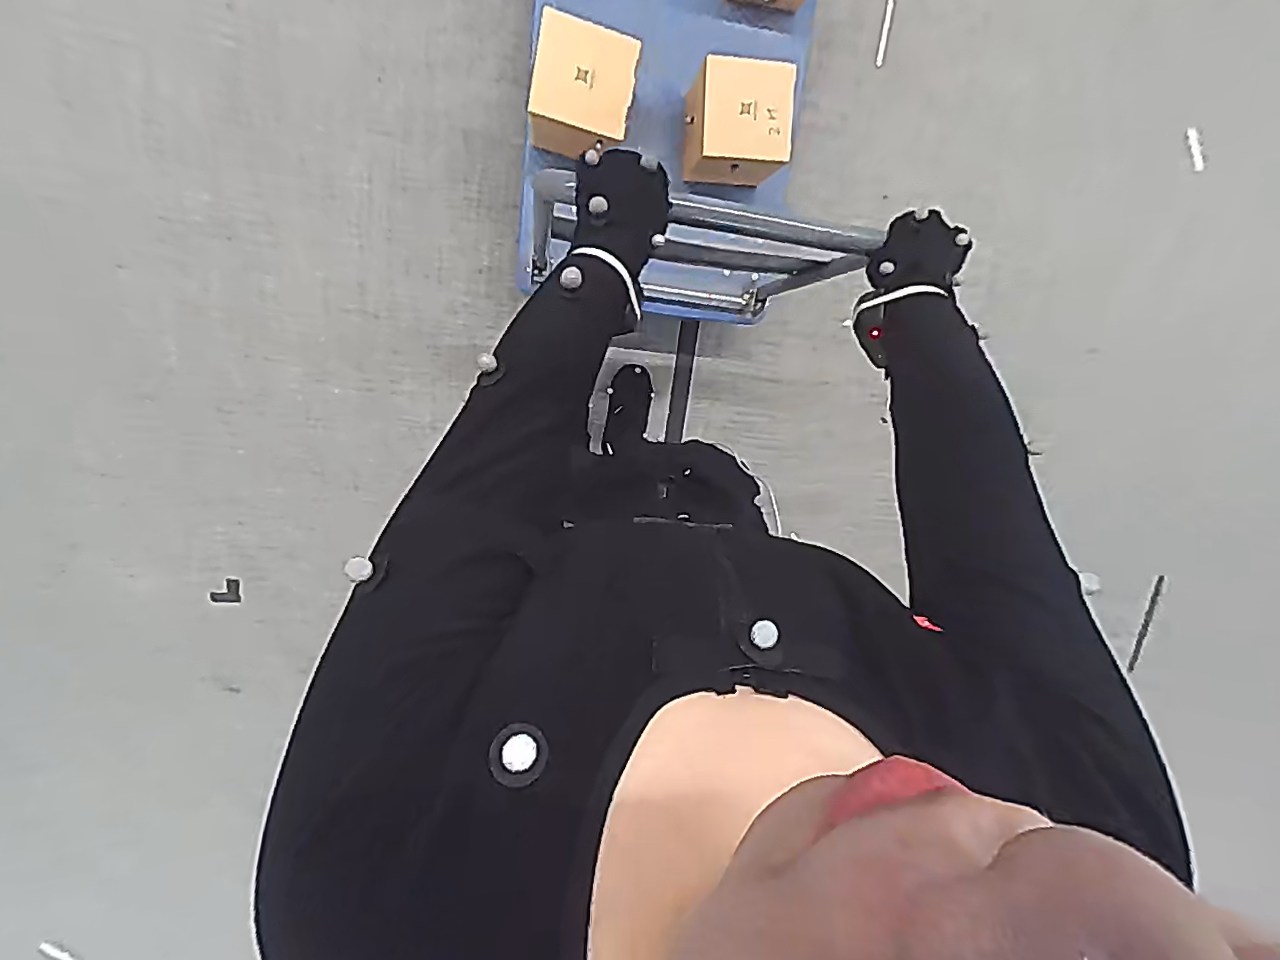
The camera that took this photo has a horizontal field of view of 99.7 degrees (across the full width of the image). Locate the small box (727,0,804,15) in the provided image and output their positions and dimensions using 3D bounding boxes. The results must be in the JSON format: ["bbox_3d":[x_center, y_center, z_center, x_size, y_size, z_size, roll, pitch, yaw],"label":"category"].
[{"bbox_3d":[0.263,-1.037,1.017,0.168,0.176,0.179,3,105,-10],"label":"small box"}]

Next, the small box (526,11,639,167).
[{"bbox_3d":[-0.116,-0.728,1.032,0.179,0.176,0.168,10,102,-14],"label":"small box"}]

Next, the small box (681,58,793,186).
[{"bbox_3d":[0.185,-0.708,1.089,0.179,0.176,0.168,-1,105,-10],"label":"small box"}]
